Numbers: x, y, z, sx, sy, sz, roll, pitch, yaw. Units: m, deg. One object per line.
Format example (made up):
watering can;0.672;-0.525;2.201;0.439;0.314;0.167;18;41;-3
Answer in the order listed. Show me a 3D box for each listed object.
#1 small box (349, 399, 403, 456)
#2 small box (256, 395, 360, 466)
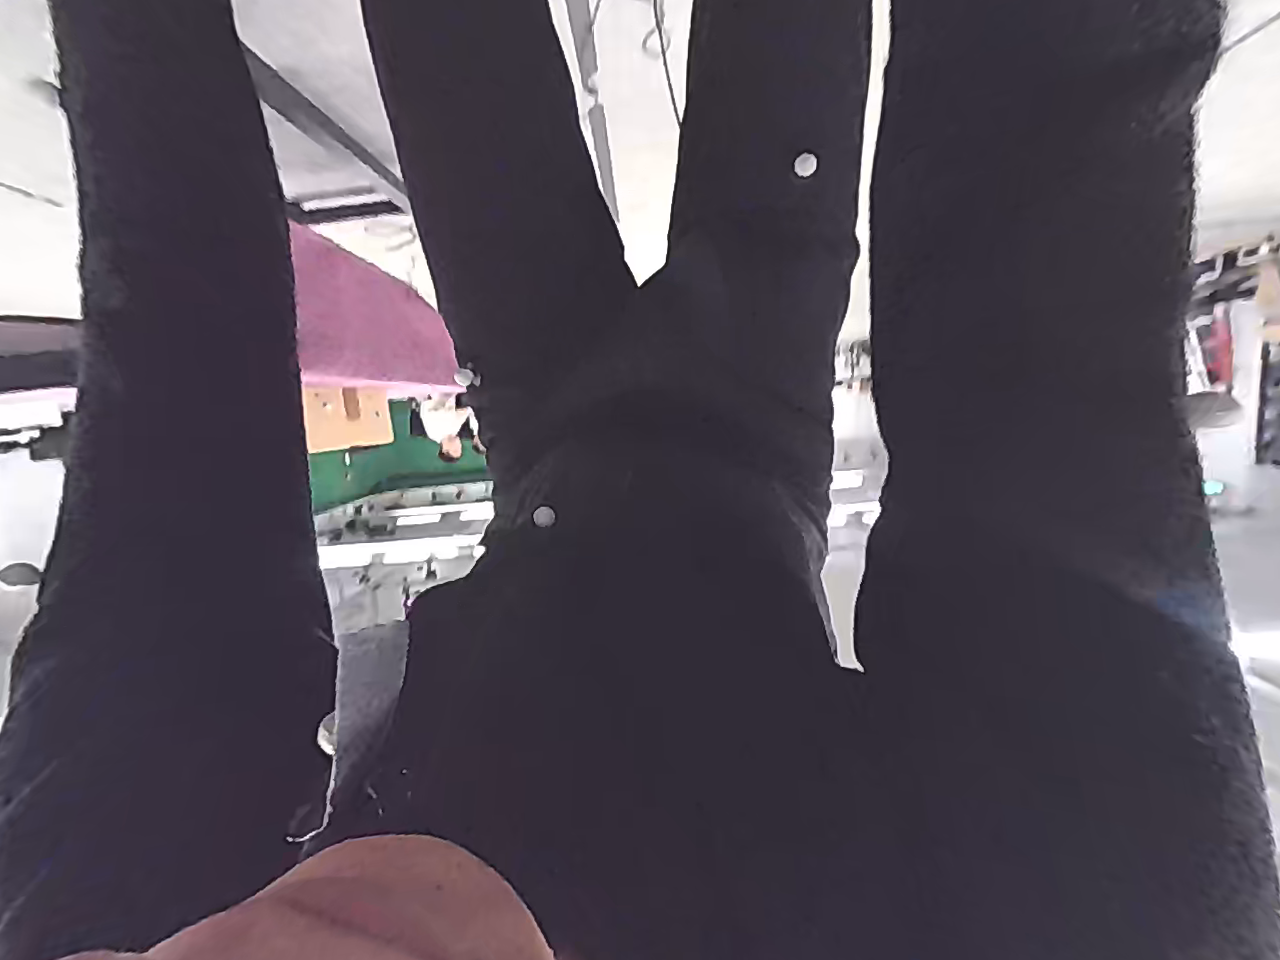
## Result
small box;-0.880;-0.164;1.701;0.179;0.176;0.168;-5;-174;5
small box;-0.897;-0.135;1.462;0.179;0.176;0.168;-5;-173;8
